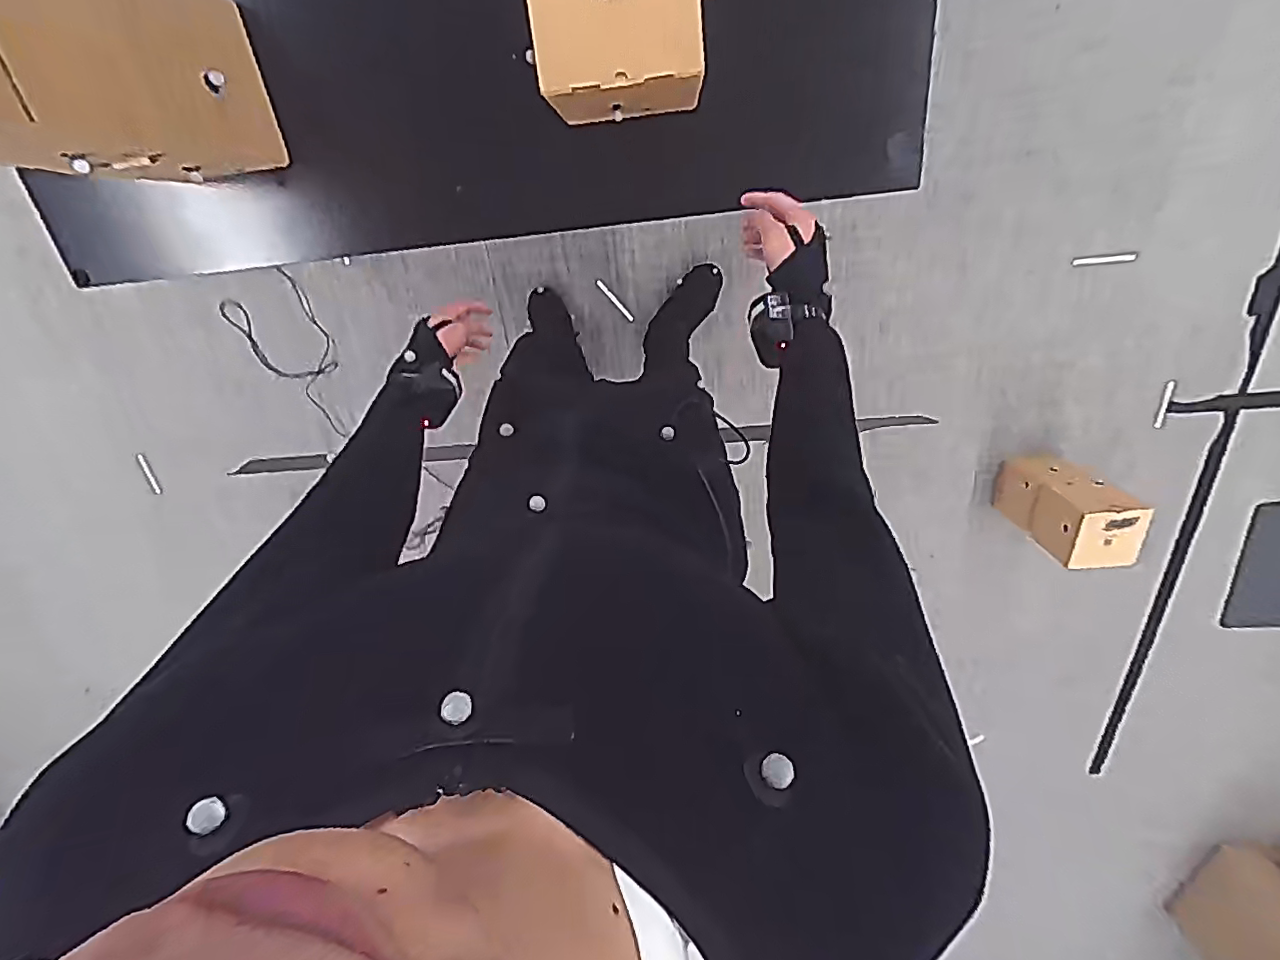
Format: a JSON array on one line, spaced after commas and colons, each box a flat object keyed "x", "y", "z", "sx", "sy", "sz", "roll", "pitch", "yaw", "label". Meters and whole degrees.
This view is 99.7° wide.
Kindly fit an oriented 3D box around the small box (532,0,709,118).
[{"x": -0.020, "y": -0.504, "z": 0.564, "sx": 0.168, "sy": 0.176, "sz": 0.179, "roll": -5, "pitch": 116, "yaw": 5, "label": "small box"}]

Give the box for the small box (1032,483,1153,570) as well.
[{"x": 1.189, "y": 0.117, "z": 1.438, "sx": 0.168, "sy": 0.176, "sz": 0.179, "roll": -4, "pitch": 117, "yaw": 4, "label": "small box"}]

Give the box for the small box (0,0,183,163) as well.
[{"x": -0.559, "y": -0.386, "z": 0.458, "sx": 0.168, "sy": 0.176, "sz": 0.179, "roll": -5, "pitch": 116, "yaw": 5, "label": "small box"}]

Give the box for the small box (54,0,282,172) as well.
[{"x": -0.553, "y": -0.456, "z": 0.607, "sx": 0.168, "sy": 0.176, "sz": 0.179, "roll": -6, "pitch": 116, "yaw": 5, "label": "small box"}]
